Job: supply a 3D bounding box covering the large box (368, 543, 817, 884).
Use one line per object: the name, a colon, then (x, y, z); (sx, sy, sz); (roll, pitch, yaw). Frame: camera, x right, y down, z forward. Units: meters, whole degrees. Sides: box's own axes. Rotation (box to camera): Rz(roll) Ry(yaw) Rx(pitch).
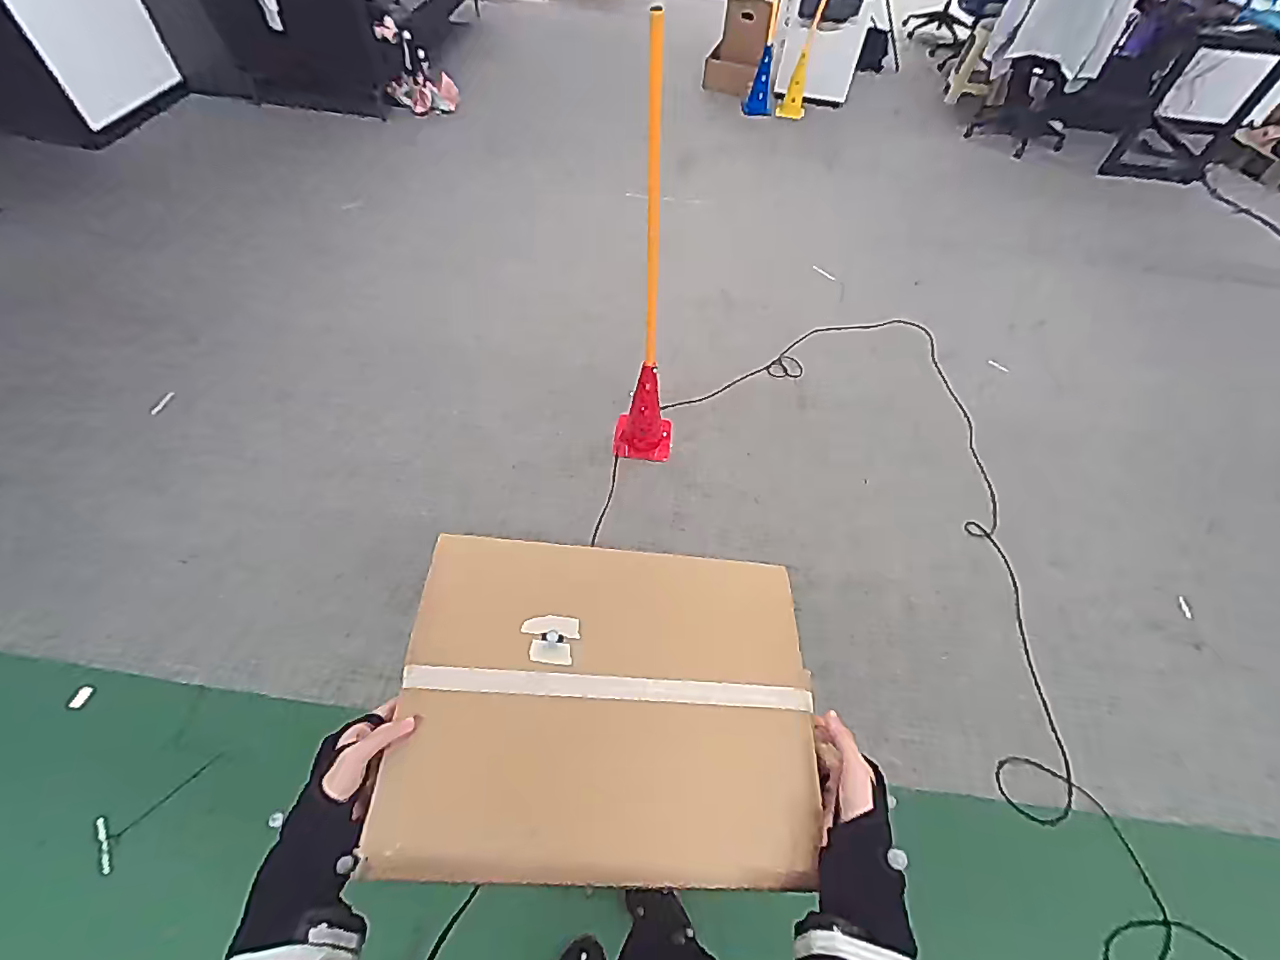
large box: (-0.049, 0.297, 0.677); (0.408, 0.320, 0.320); (6, 56, -6)
